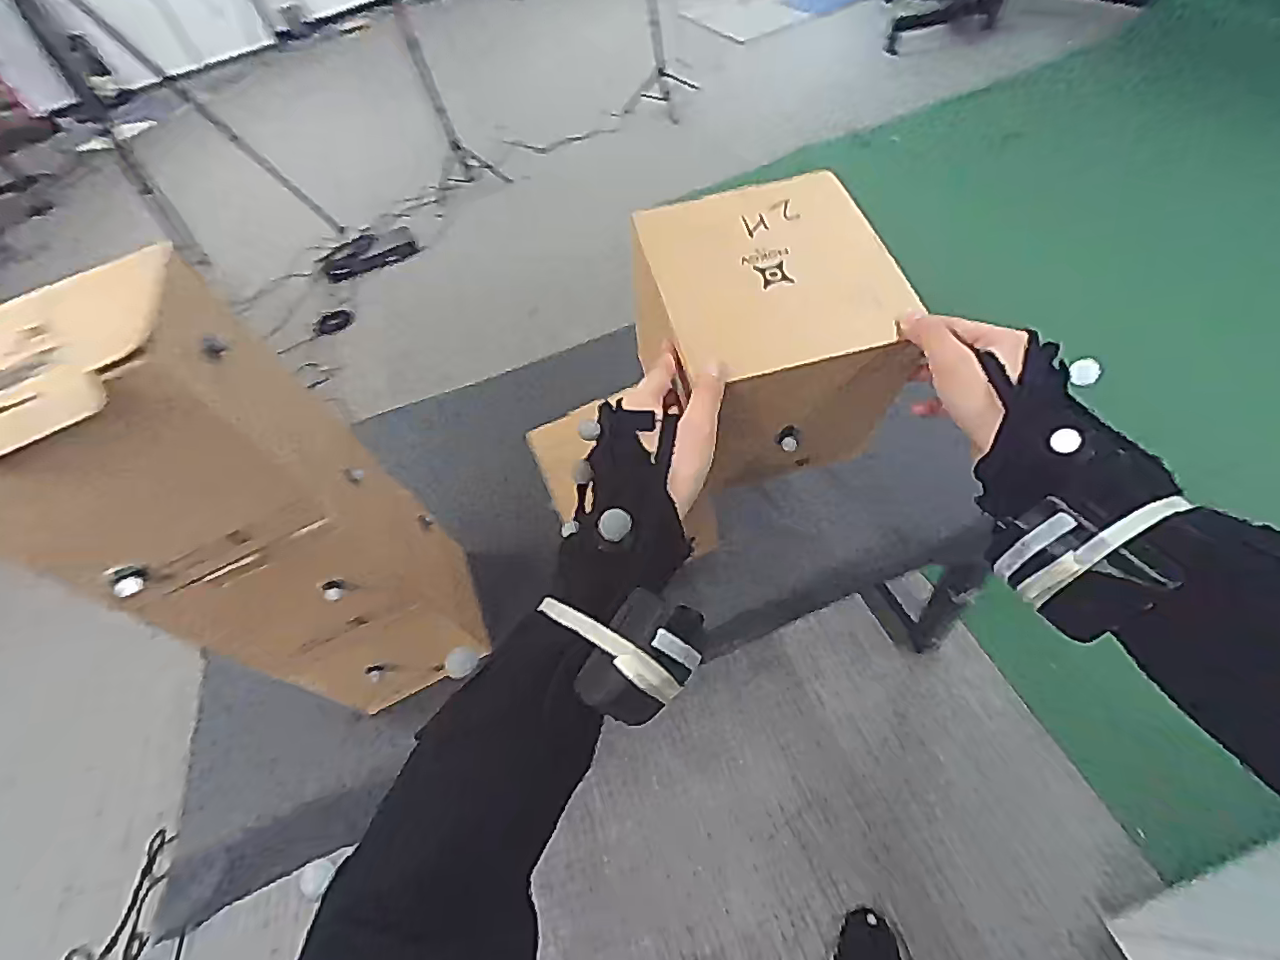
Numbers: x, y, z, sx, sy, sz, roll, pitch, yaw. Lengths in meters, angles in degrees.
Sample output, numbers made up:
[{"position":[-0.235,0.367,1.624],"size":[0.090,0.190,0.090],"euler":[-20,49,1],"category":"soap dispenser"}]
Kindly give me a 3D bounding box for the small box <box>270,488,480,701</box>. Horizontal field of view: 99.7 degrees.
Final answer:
[{"position":[-0.318,0.148,0.664],"size":[0.168,0.176,0.179],"euler":[-26,52,-7],"category":"small box"}]

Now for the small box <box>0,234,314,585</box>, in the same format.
[{"position":[-0.376,-0.045,0.406],"size":[0.168,0.176,0.179],"euler":[-27,52,-10],"category":"small box"}]

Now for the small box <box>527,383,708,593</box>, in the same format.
[{"position":[-0.025,0.014,0.698],"size":[0.168,0.176,0.179],"euler":[-25,52,-6],"category":"small box"}]

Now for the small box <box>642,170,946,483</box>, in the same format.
[{"position":[0.102,-0.112,0.446],"size":[0.168,0.176,0.179],"euler":[-13,63,-5],"category":"small box"}]

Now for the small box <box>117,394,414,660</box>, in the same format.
[{"position":[-0.347,0.054,0.535],"size":[0.168,0.176,0.179],"euler":[-26,51,-9],"category":"small box"}]
